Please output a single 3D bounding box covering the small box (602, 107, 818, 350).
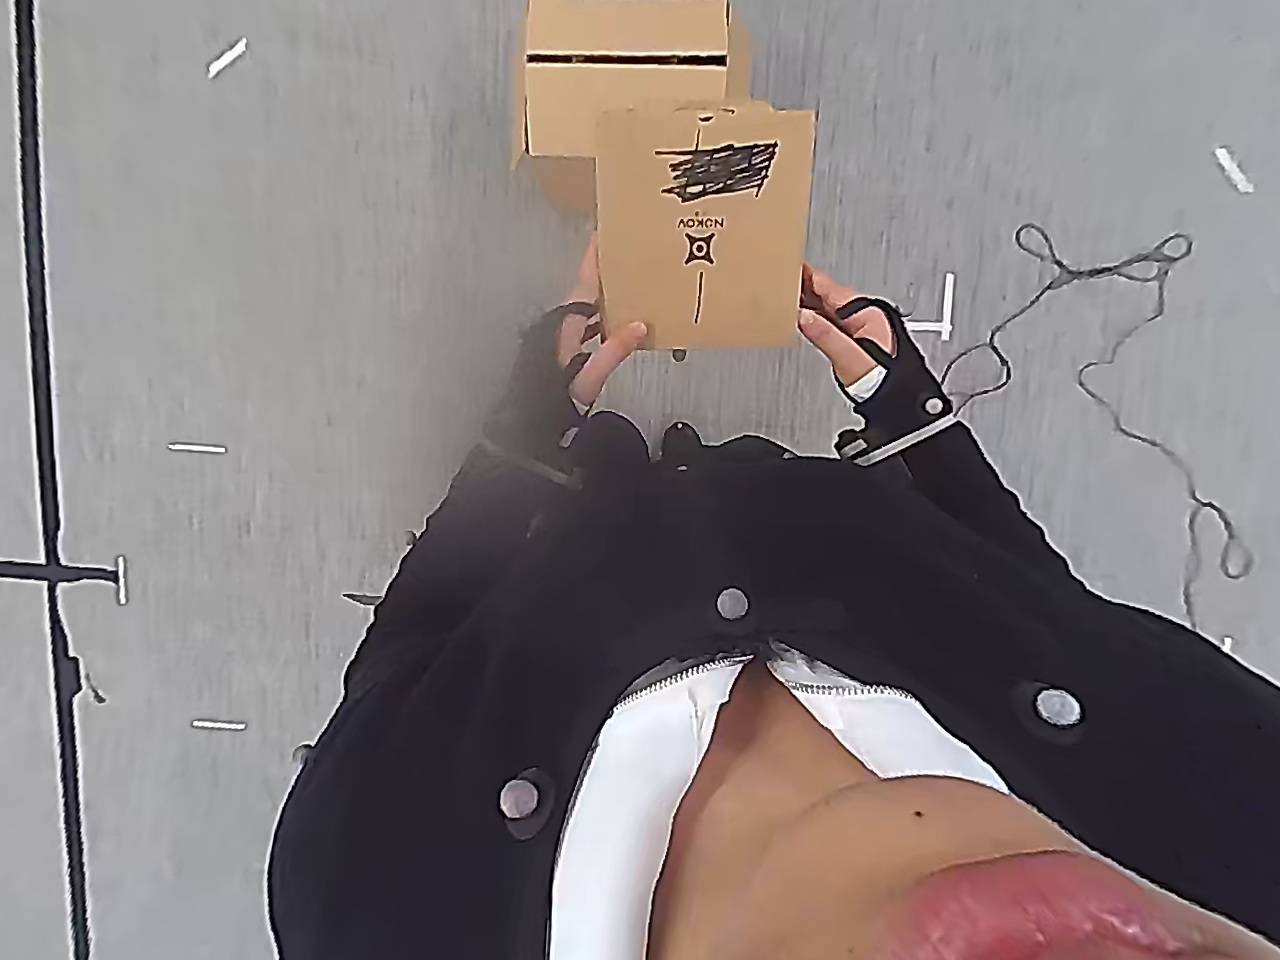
[{"bbox_3d":[0.050,-0.213,0.498,0.168,0.176,0.179,0,107,0],"label":"small box"}]
